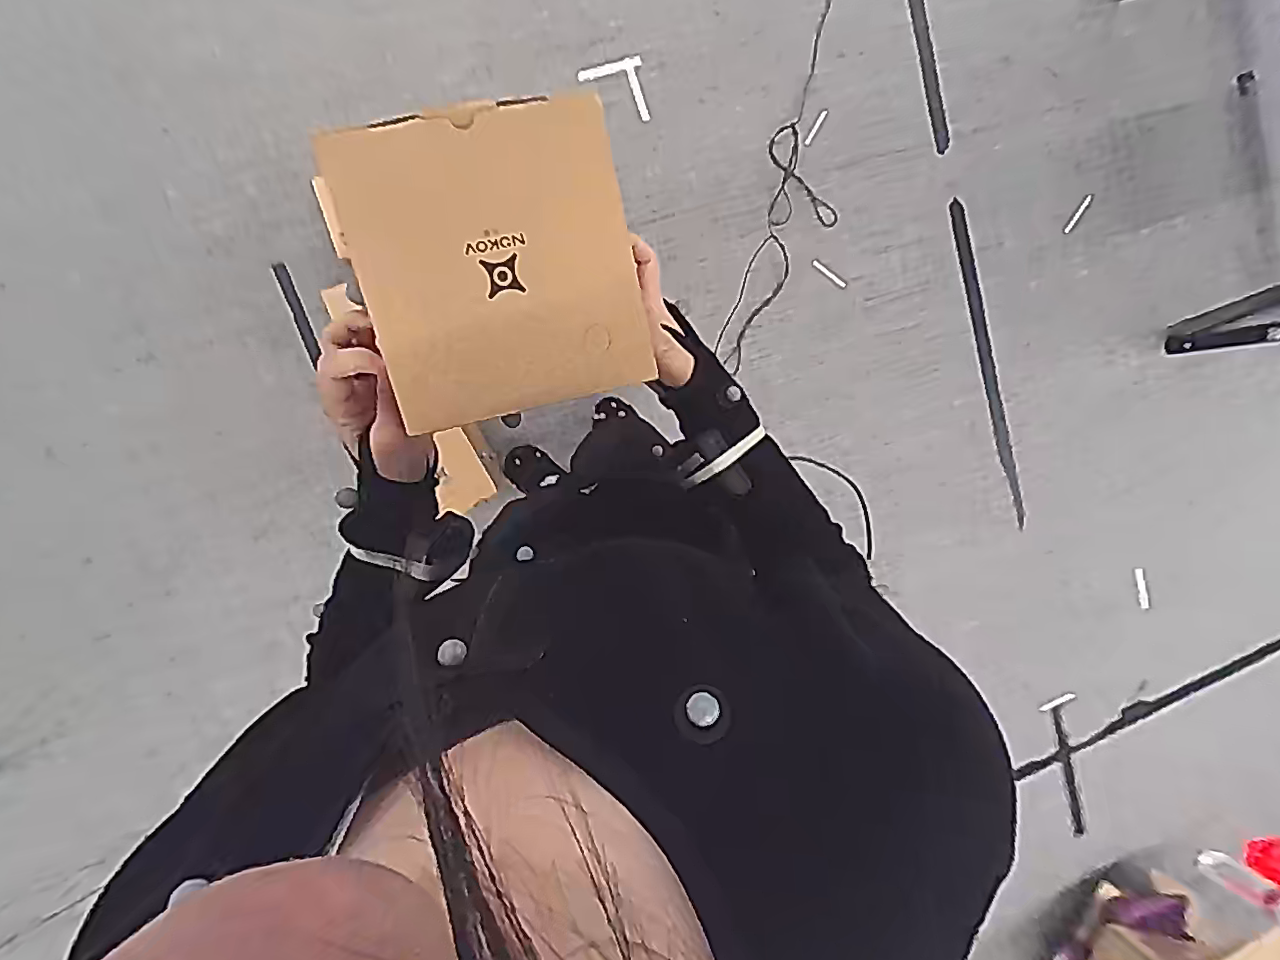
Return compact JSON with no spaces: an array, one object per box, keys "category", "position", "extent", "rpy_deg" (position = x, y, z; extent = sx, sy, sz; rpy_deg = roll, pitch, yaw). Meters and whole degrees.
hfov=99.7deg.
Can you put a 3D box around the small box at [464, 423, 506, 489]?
[{"category":"small box","position":[-0.448,-0.033,1.347],"extent":[0.168,0.176,0.179],"rpy_deg":[-31,101,-7]}]

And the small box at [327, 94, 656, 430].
[{"category":"small box","position":[-0.095,-0.144,0.405],"extent":[0.168,0.176,0.179],"rpy_deg":[-13,102,-9]}]

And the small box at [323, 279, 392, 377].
[{"category":"small box","position":[-0.519,-0.323,1.136],"extent":[0.179,0.176,0.168],"rpy_deg":[-20,99,-7]}]

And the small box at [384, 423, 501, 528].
[{"category":"small box","position":[-0.420,-0.019,1.187],"extent":[0.168,0.176,0.179],"rpy_deg":[-30,99,-7]}]
